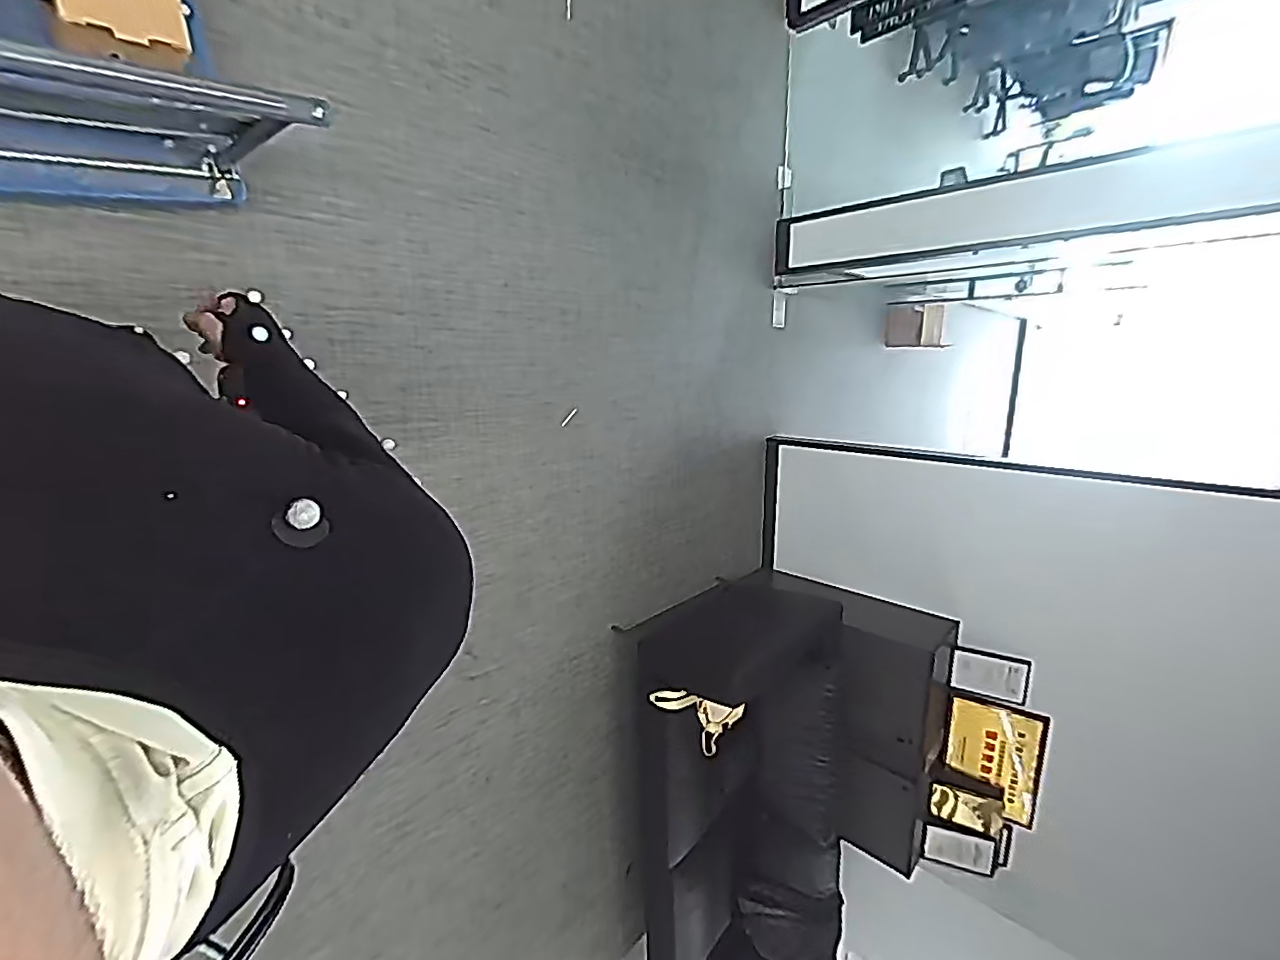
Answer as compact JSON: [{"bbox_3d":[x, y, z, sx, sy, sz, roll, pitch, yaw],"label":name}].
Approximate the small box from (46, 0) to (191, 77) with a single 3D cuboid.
[{"bbox_3d":[-0.905,-0.838,0.924,0.168,0.176,0.179,-19,112,-43],"label":"small box"}]
